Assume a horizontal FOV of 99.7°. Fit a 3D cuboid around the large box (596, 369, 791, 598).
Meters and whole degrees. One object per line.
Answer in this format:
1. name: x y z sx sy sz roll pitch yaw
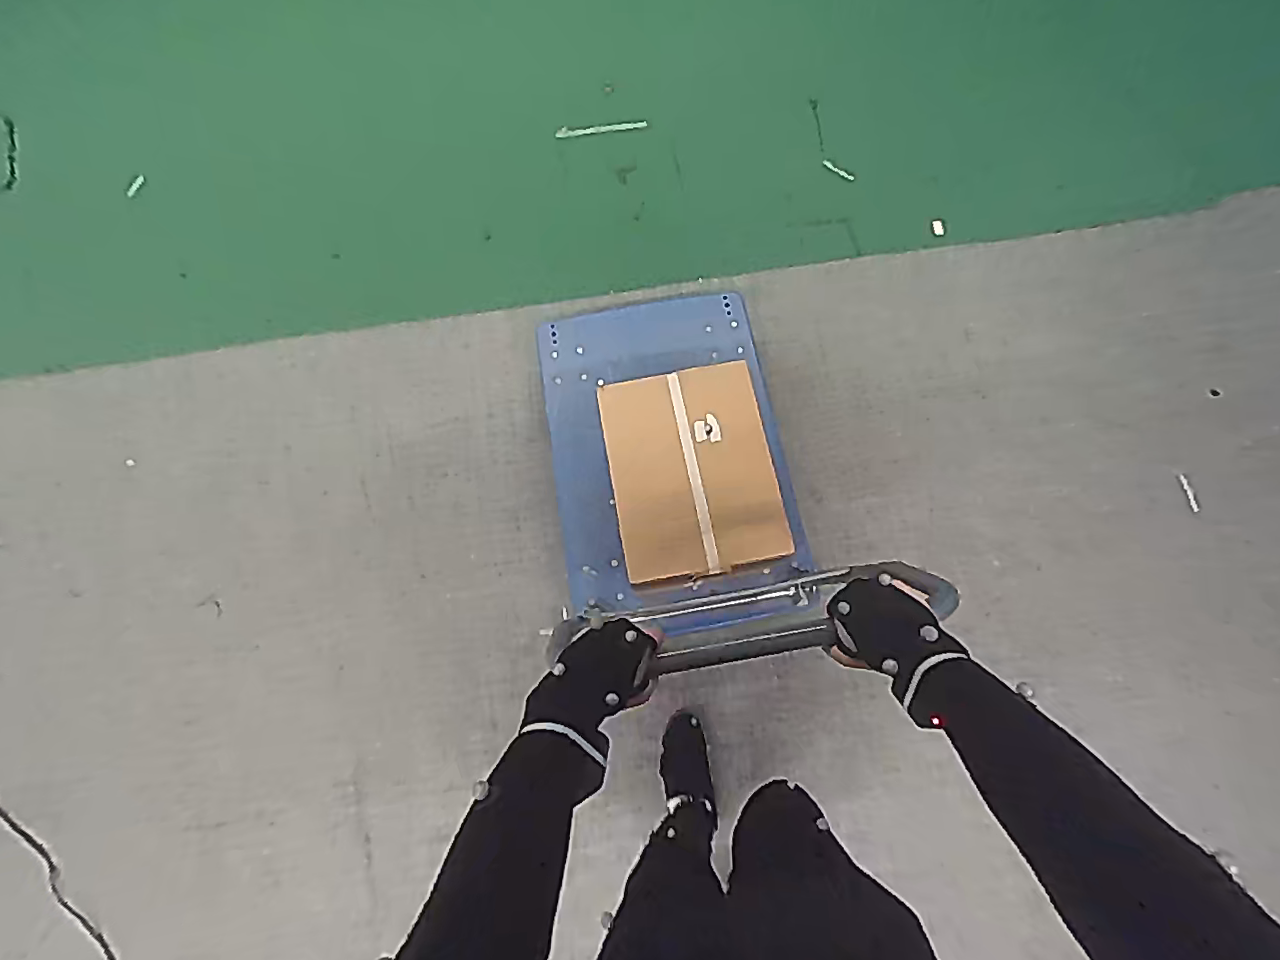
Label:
1. large box: 0.104 0.026 1.205 0.320 0.320 0.408 -11 73 -1
